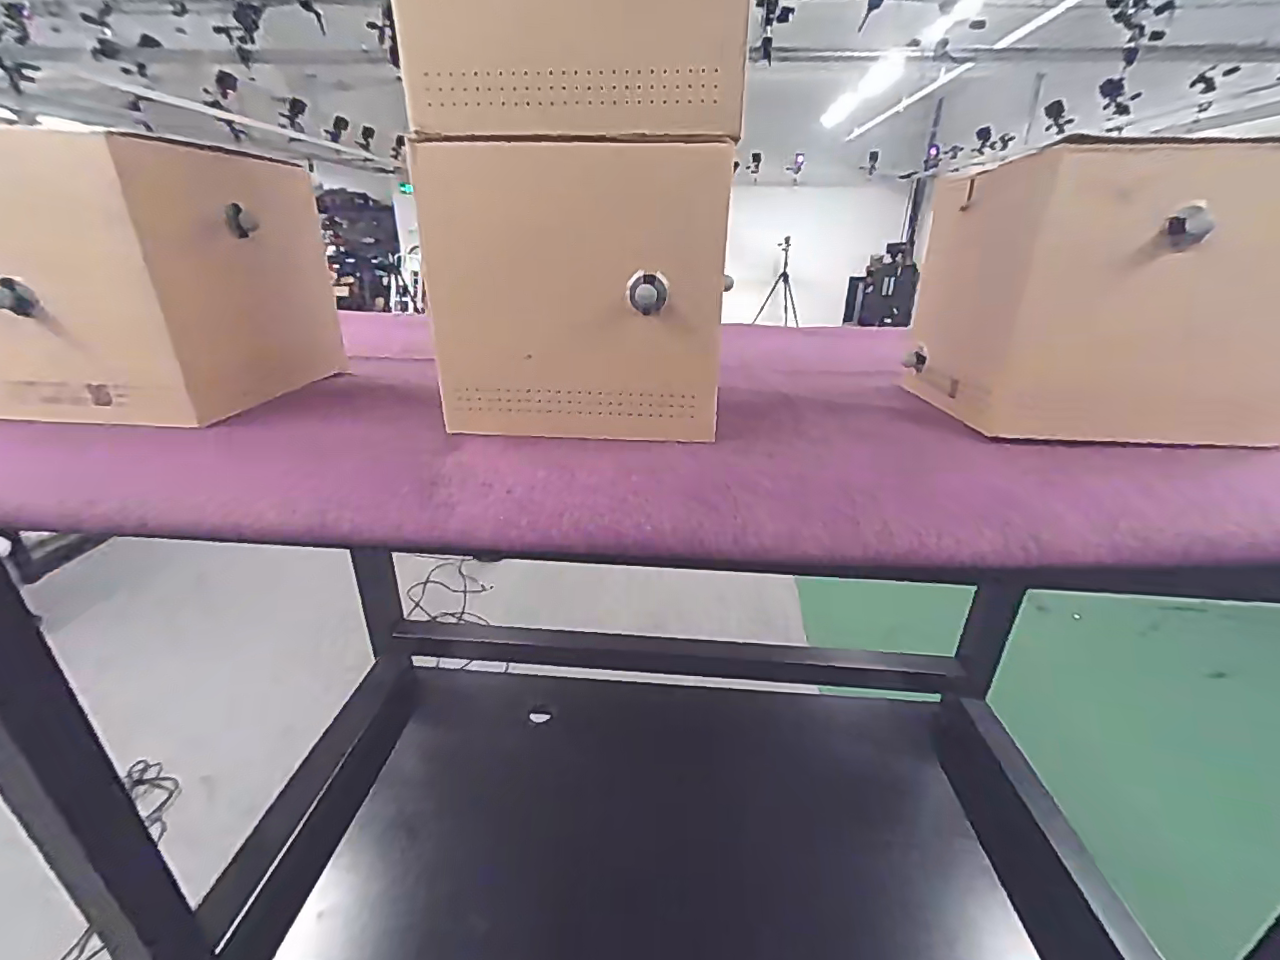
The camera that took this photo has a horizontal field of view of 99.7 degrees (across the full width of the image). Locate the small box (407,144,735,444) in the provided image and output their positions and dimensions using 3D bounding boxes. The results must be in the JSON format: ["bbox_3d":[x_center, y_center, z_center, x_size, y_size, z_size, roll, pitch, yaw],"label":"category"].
[{"bbox_3d":[-0.034,-0.129,0.386,0.179,0.176,0.168,1,24,3],"label":"small box"}]

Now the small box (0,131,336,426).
[{"bbox_3d":[-0.355,-0.144,0.395,0.168,0.176,0.179,3,25,2],"label":"small box"}]

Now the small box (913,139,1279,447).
[{"bbox_3d":[0.315,-0.126,0.385,0.179,0.176,0.168,3,22,5],"label":"small box"}]
